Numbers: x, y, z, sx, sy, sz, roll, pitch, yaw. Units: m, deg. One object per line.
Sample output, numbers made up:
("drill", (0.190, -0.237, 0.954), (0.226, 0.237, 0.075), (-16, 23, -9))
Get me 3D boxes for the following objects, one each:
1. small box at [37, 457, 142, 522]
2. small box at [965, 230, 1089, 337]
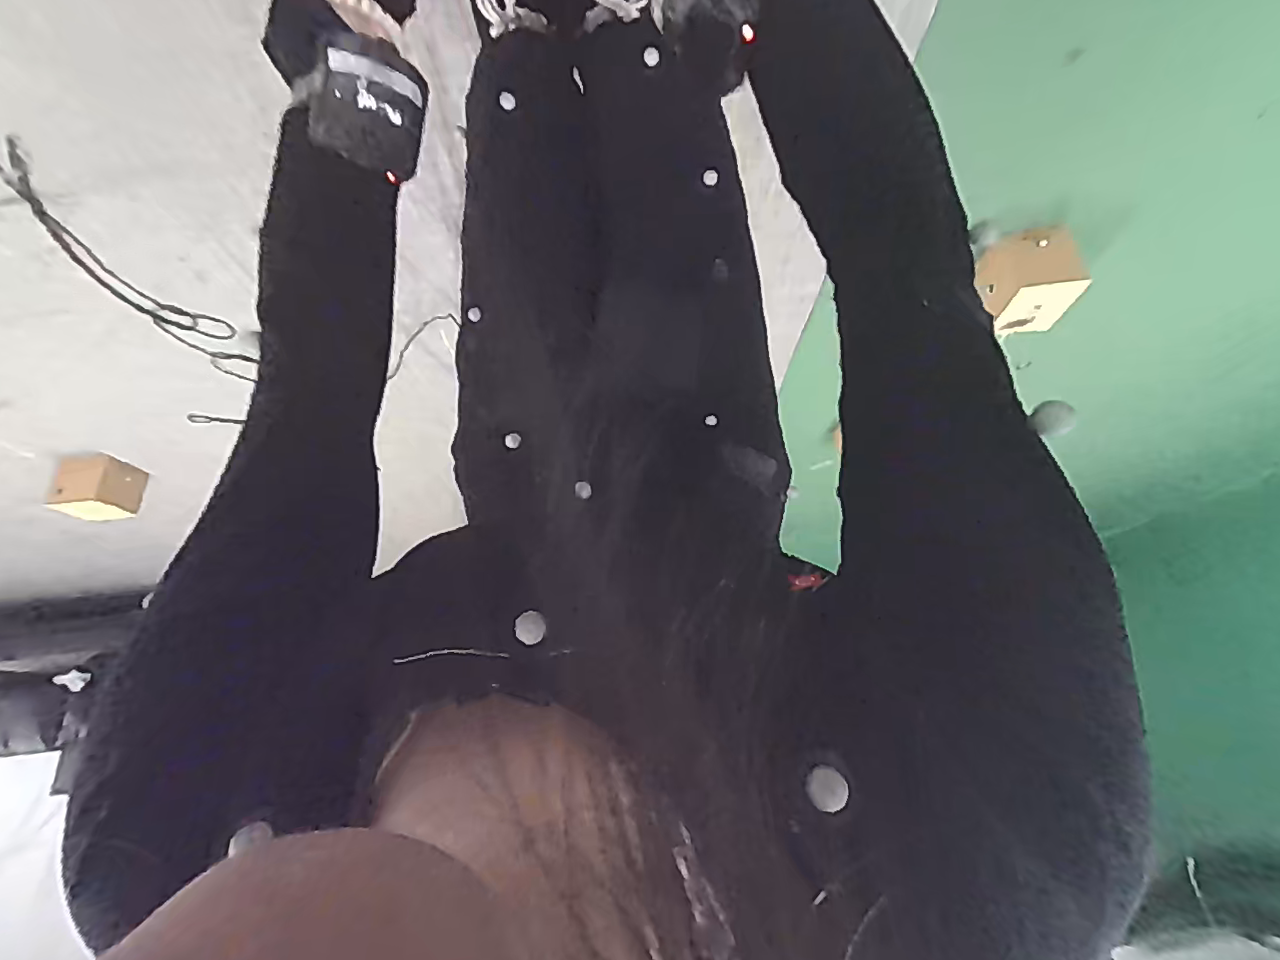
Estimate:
("small box", (-1.886, 0.033, 1.866), (0.179, 0.176, 0.168), (-6, 157, 0))
("small box", (0.931, -0.478, 1.325), (0.168, 0.176, 0.179), (-6, 155, 1))
